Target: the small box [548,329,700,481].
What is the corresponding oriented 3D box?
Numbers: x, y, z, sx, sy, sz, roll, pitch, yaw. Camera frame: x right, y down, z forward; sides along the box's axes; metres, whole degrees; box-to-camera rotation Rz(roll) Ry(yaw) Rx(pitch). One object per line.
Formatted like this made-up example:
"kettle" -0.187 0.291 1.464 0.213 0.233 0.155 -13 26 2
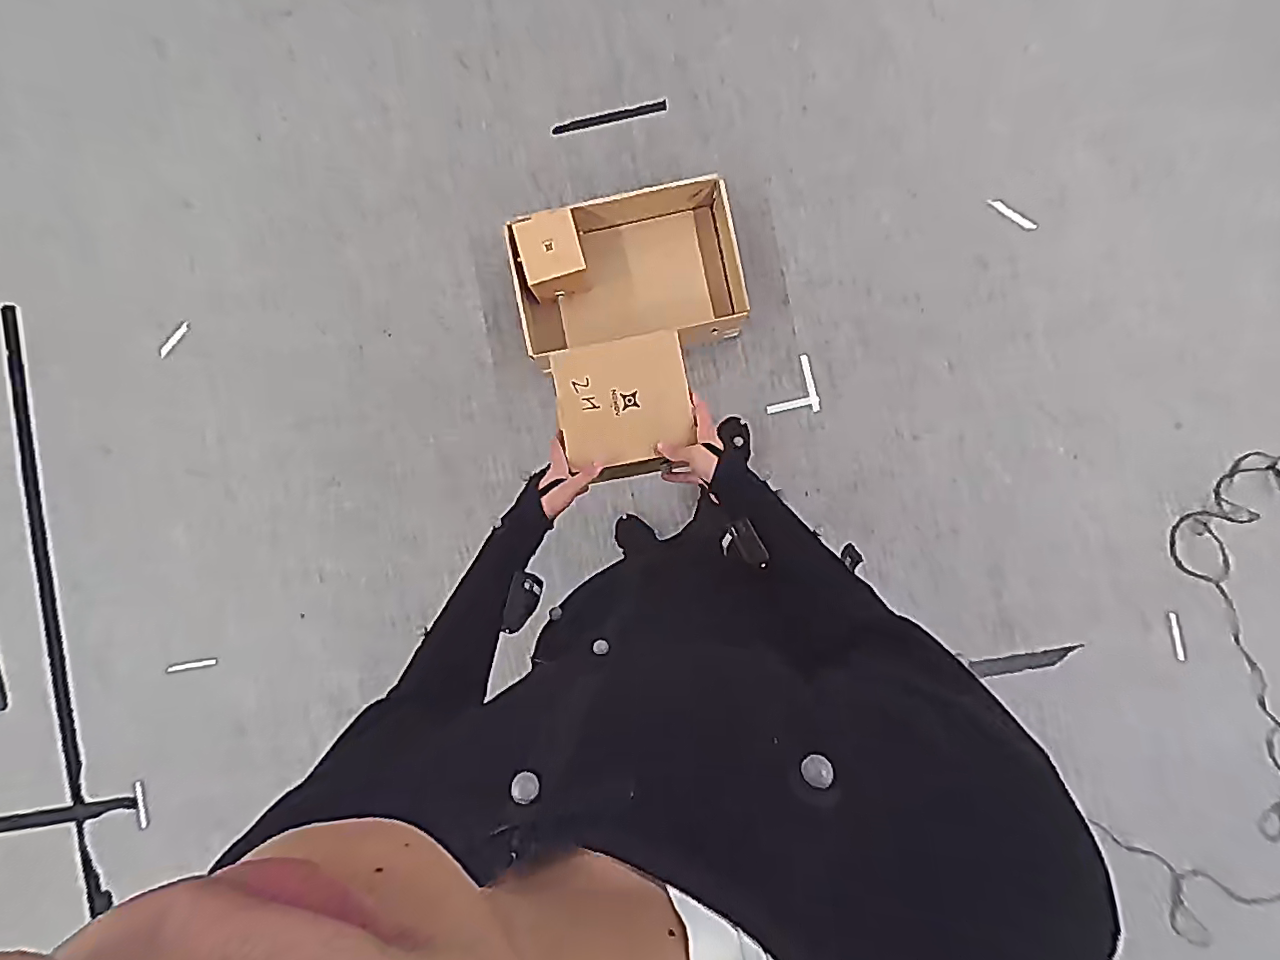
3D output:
"small box" -0.021 -0.097 0.777 0.179 0.176 0.168 -11 85 0
